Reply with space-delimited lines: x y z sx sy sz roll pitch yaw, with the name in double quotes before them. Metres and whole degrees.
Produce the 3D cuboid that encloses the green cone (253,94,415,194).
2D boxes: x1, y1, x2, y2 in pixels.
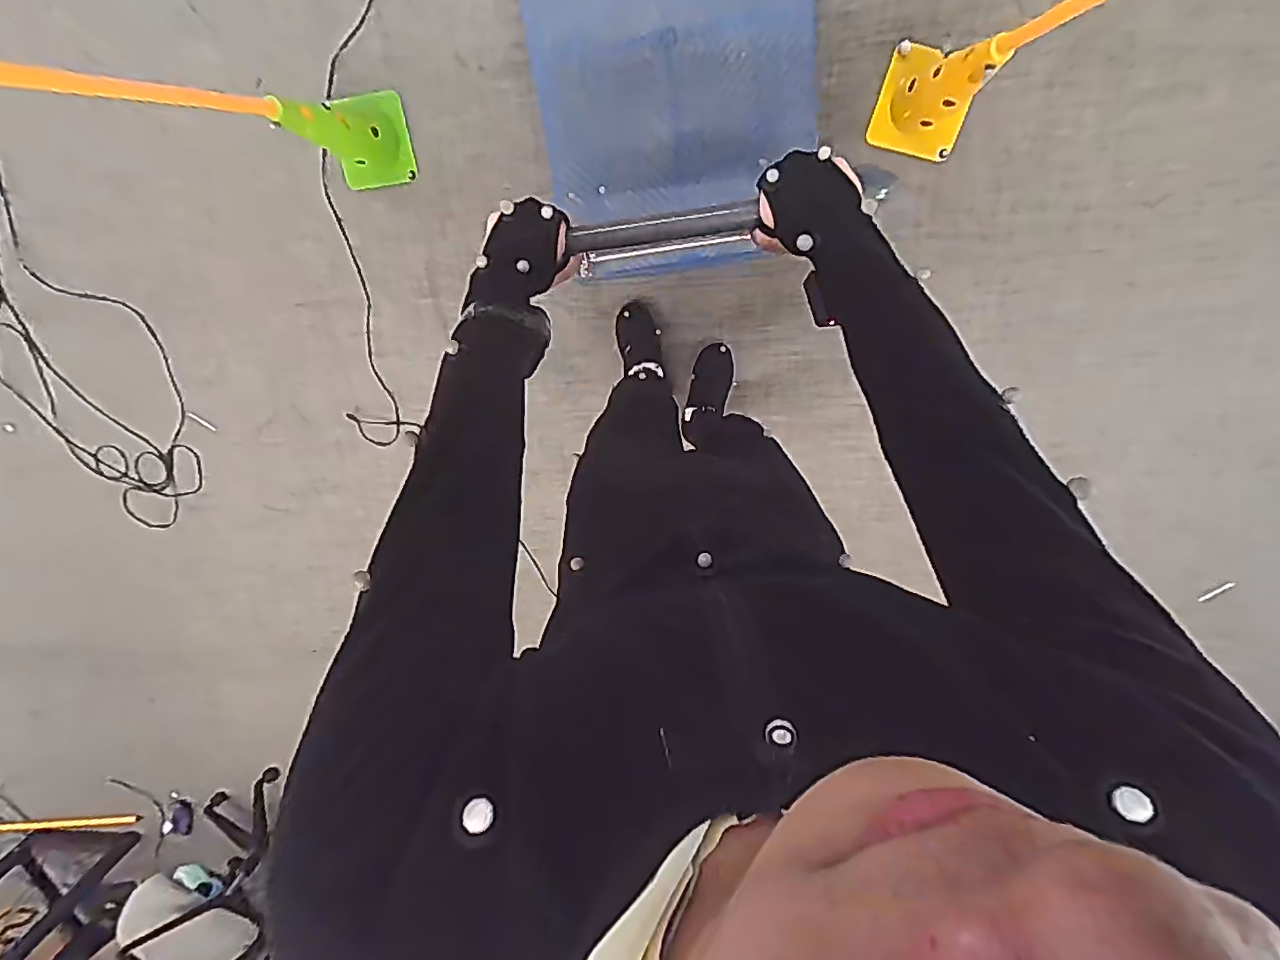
"green cone" -0.707 -0.789 1.218 0.202 0.368 0.200 -4 111 10
